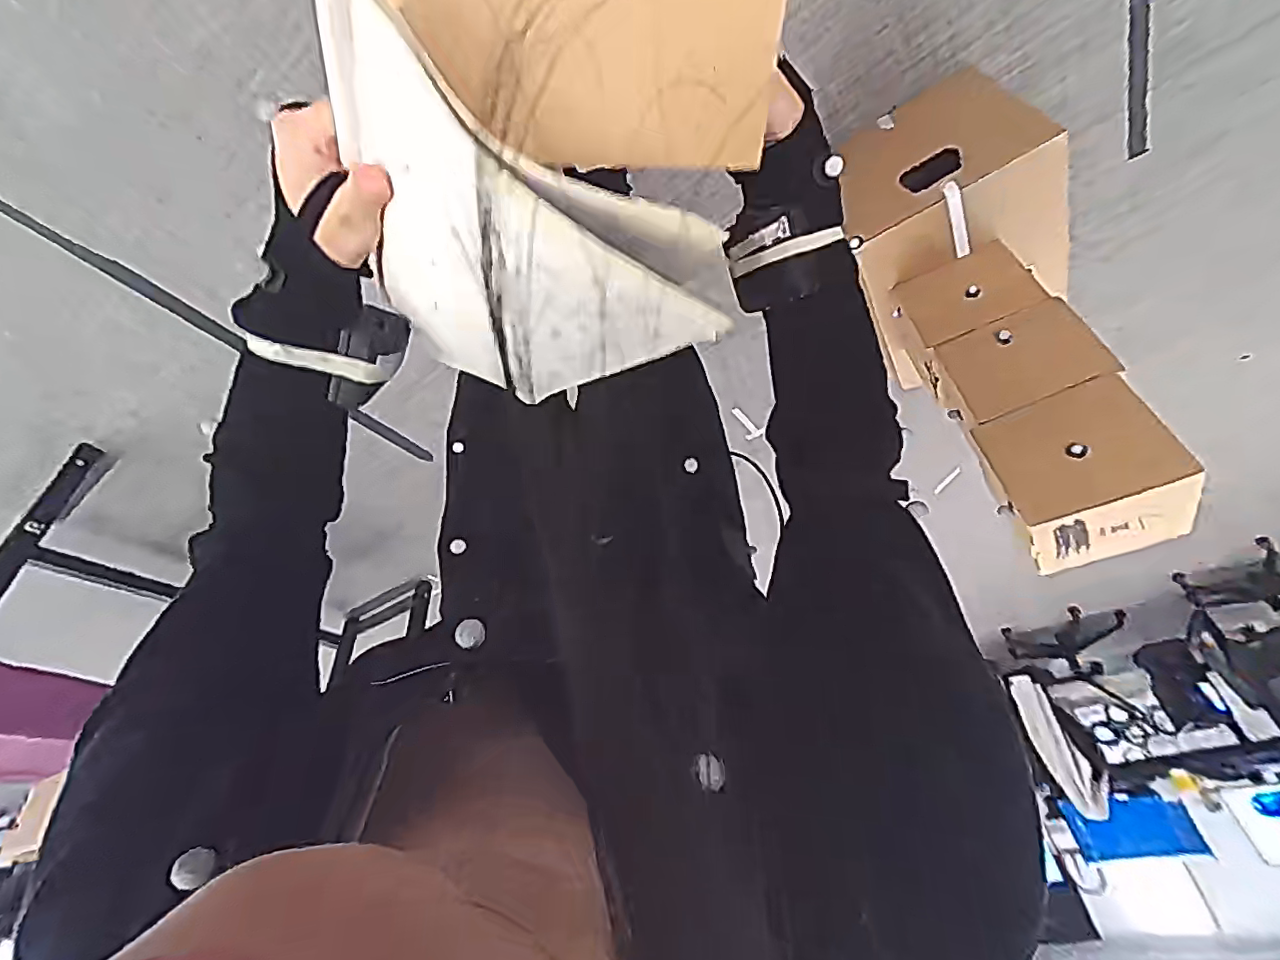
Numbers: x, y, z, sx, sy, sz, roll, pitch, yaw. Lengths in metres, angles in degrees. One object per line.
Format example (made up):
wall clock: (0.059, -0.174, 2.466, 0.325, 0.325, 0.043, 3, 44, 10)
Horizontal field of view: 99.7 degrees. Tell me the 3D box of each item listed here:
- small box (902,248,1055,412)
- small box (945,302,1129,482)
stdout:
small box: (0.568, -0.255, 0.927, 0.179, 0.176, 0.168, -23, 139, 21)
small box: (0.587, -0.130, 0.822, 0.179, 0.176, 0.168, -23, 139, 24)
